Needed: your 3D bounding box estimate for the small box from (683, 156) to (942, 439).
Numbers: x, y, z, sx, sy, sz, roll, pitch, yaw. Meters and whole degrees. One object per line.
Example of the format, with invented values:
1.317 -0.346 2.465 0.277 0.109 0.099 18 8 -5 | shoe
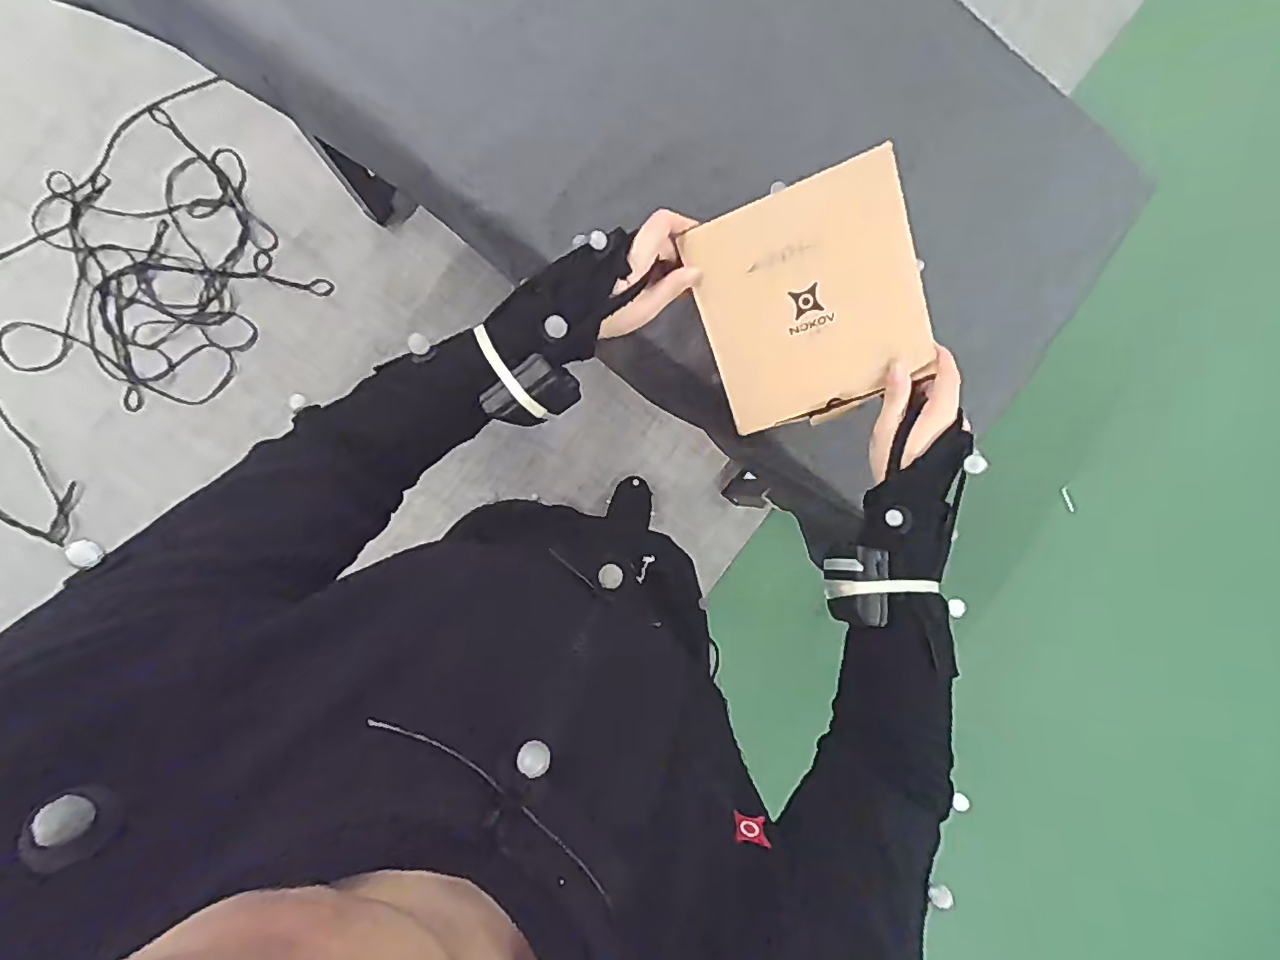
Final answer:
0.153 -0.163 0.506 0.168 0.176 0.179 -19 106 16 | small box
